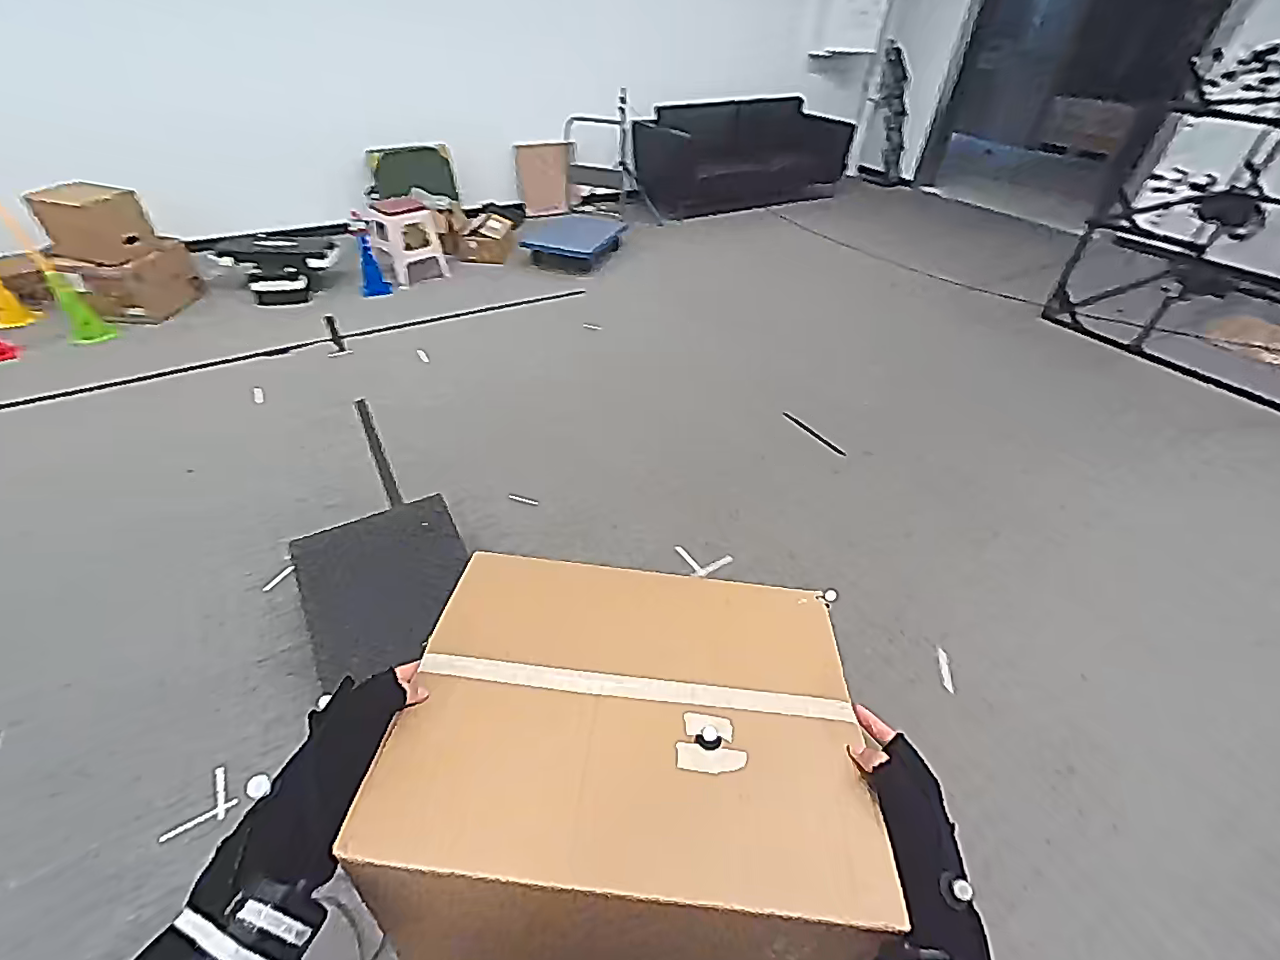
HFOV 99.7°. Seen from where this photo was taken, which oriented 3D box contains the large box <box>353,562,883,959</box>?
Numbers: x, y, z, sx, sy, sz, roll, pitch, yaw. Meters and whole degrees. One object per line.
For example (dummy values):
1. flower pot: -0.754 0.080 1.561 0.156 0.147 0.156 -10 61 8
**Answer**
1. large box: -0.021 0.324 0.601 0.408 0.320 0.320 7 35 1
